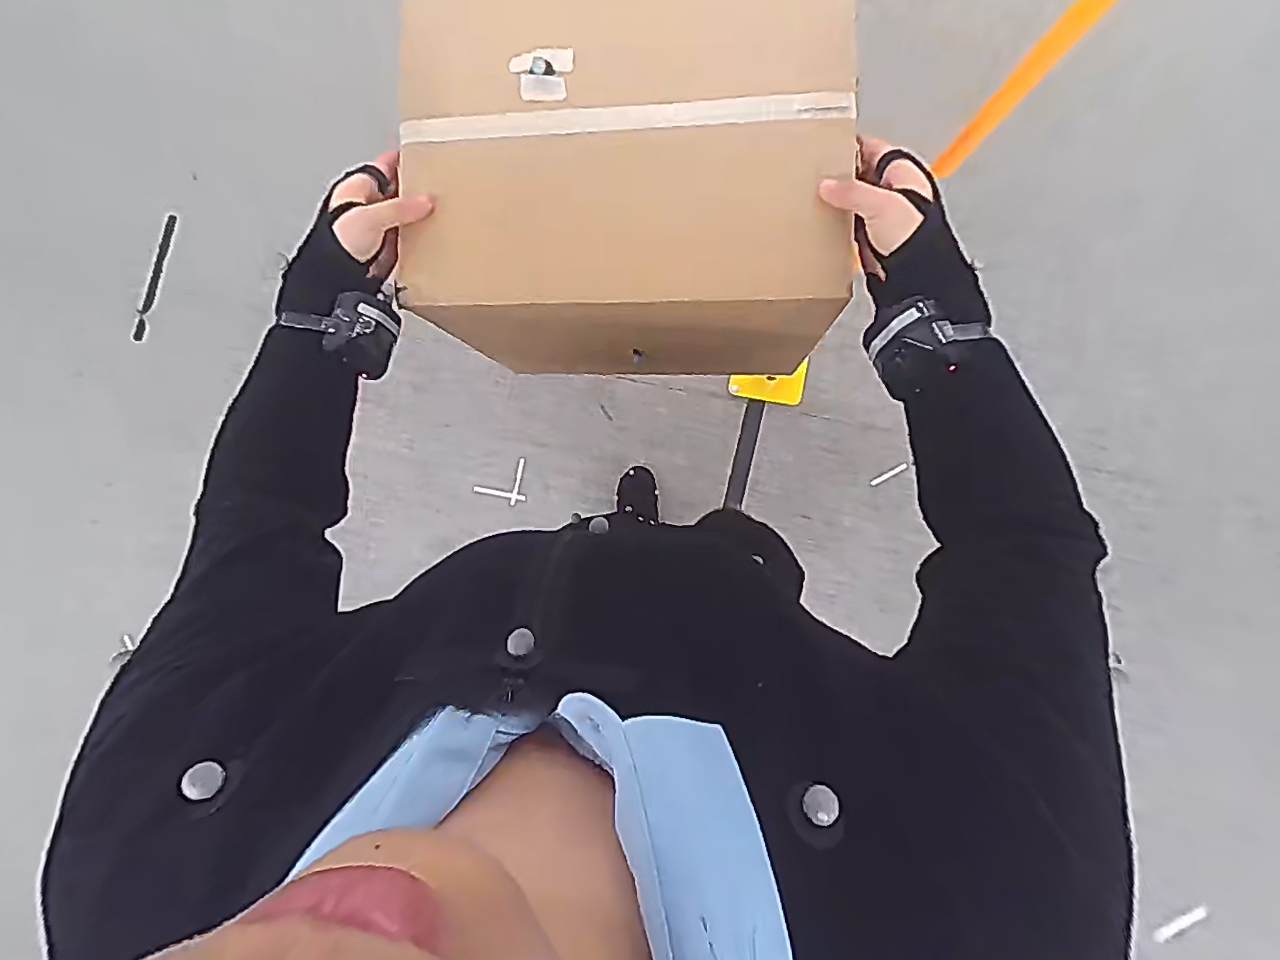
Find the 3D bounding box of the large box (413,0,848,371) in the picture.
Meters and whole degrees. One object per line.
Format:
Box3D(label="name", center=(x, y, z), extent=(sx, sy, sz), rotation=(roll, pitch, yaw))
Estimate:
Box3D(label="large box", center=(0.003, -0.313, 0.637), extent=(0.408, 0.320, 0.320), rotation=(1, 89, 7))
